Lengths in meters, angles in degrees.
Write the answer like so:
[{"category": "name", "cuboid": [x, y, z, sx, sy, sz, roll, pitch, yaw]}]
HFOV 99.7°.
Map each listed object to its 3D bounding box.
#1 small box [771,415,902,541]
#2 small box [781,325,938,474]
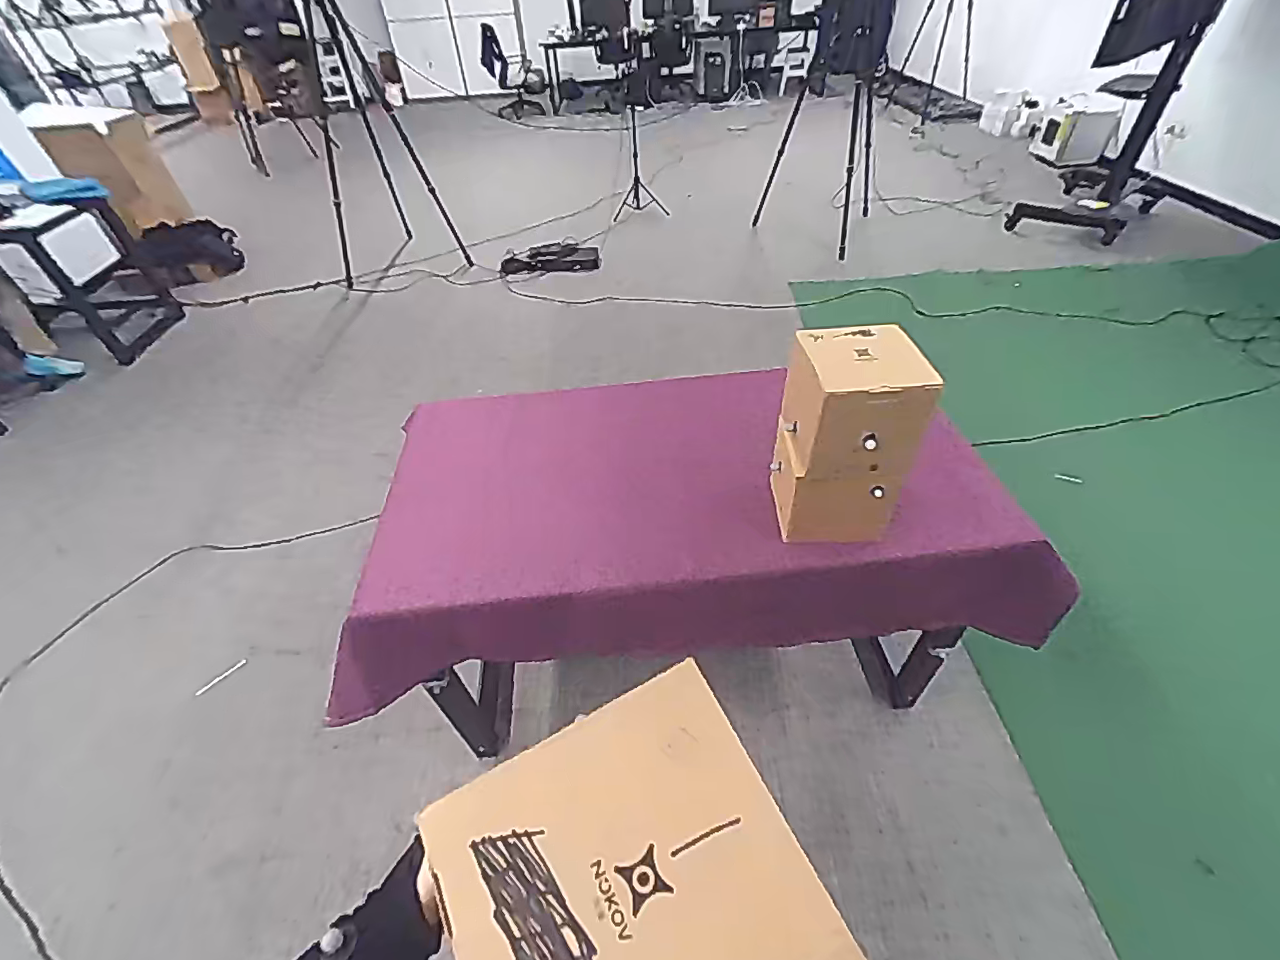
[{"category": "small box", "cuboid": [0.335, -0.004, 0.965, 0.179, 0.176, 0.168, -1, 44, 3]}, {"category": "small box", "cuboid": [0.329, -0.122, 0.850, 0.168, 0.176, 0.179, -3, 45, 0]}]
